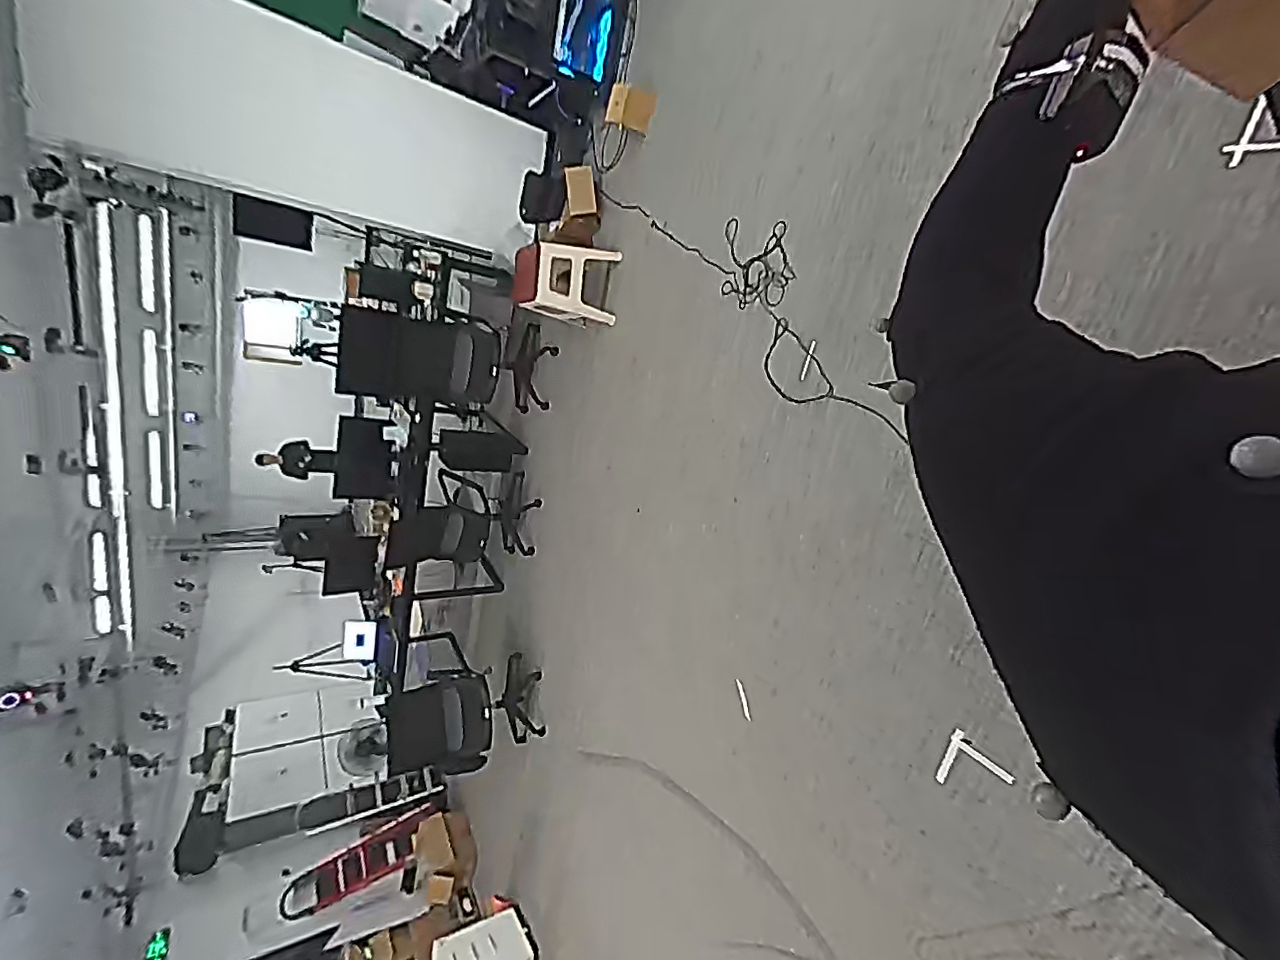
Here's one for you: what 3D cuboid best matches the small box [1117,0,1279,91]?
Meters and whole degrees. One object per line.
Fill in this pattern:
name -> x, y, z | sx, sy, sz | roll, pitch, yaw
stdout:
small box -> 0.484, -0.442, 0.399 | 0.179, 0.176, 0.168 | 142, 122, -61
